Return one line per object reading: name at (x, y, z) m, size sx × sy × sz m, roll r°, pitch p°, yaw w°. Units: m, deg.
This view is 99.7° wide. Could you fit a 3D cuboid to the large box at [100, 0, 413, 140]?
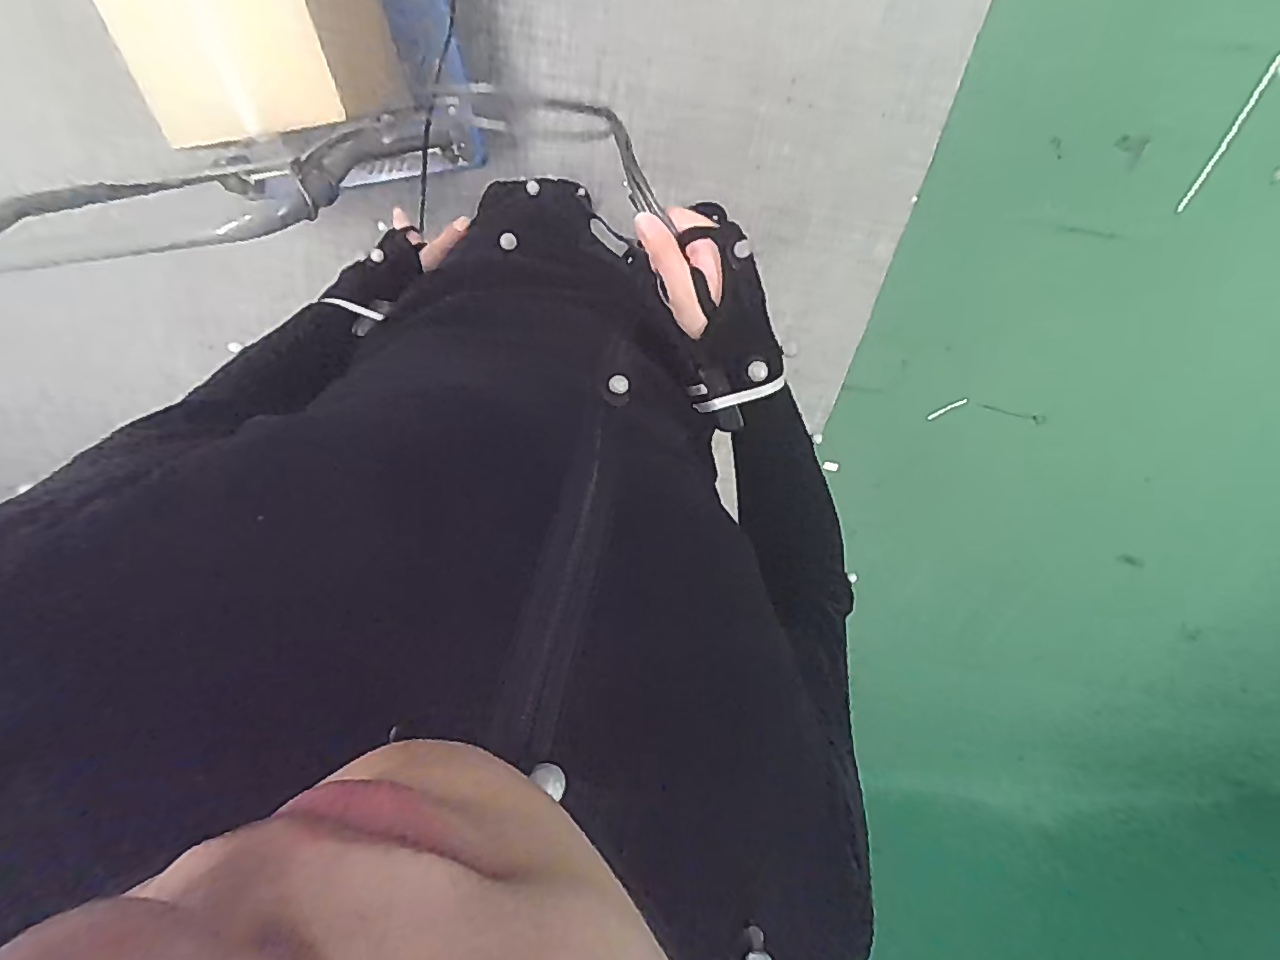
large box at (-0.639, -0.818, 0.885) m, size 0.320 × 0.320 × 0.408 m, roll -6°, pitch 123°, yaw 5°
